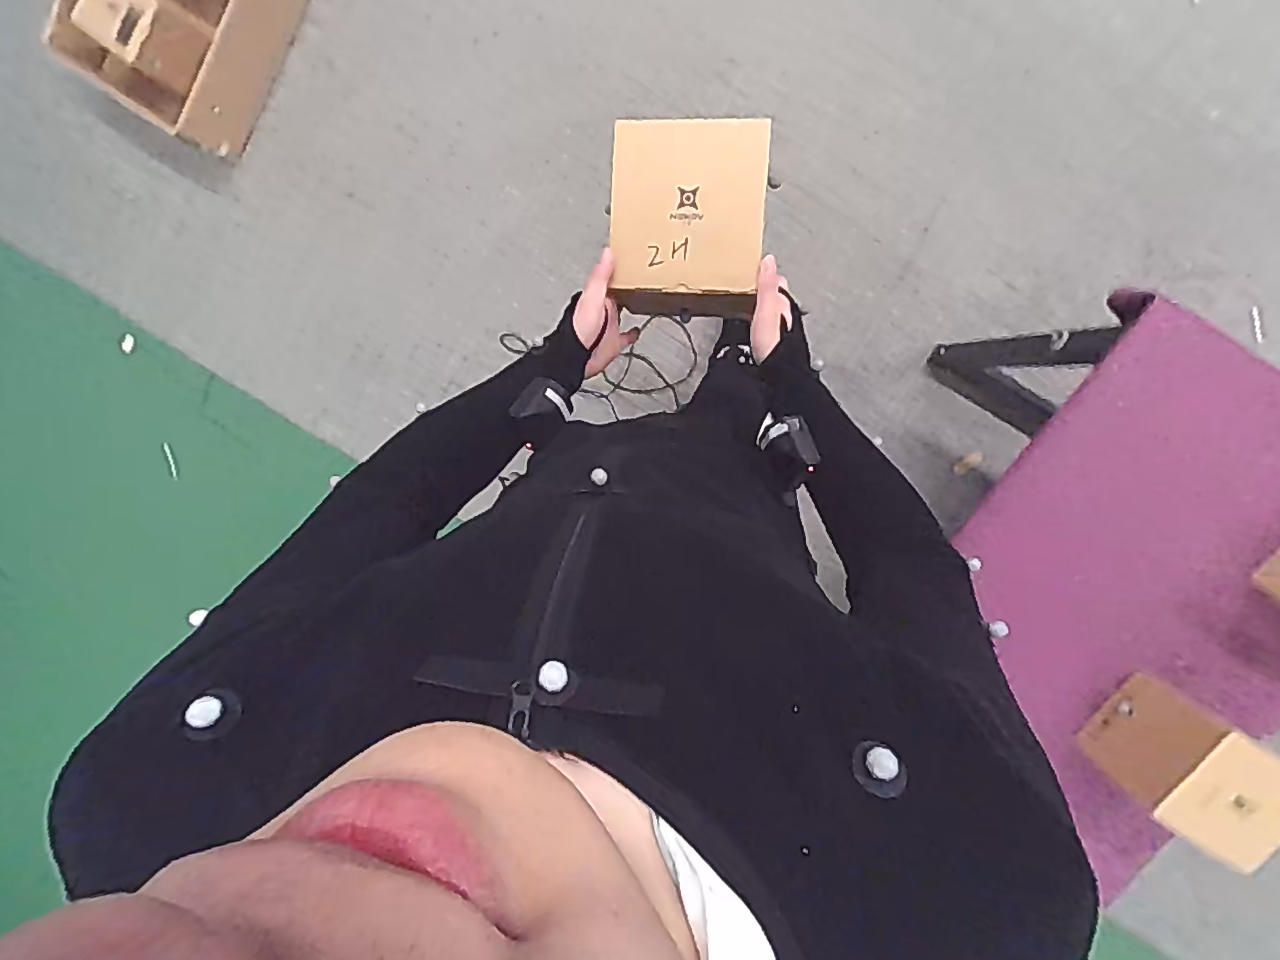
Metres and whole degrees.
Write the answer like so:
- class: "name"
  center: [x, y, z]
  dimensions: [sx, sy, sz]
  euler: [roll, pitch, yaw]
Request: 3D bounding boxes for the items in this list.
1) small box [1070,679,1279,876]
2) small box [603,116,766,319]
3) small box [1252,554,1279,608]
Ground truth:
- class: "small box"
  center: [0.841, 0.446, 0.839]
  dimensions: [0.179, 0.176, 0.168]
  euler: [32, 101, -2]
- class: "small box"
  center: [0.055, -0.303, 0.653]
  dimensions: [0.168, 0.176, 0.179]
  euler: [4, 97, 8]
- class: "small box"
  center: [1.063, 0.162, 0.763]
  dimensions: [0.179, 0.176, 0.168]
  euler: [34, 102, -2]
